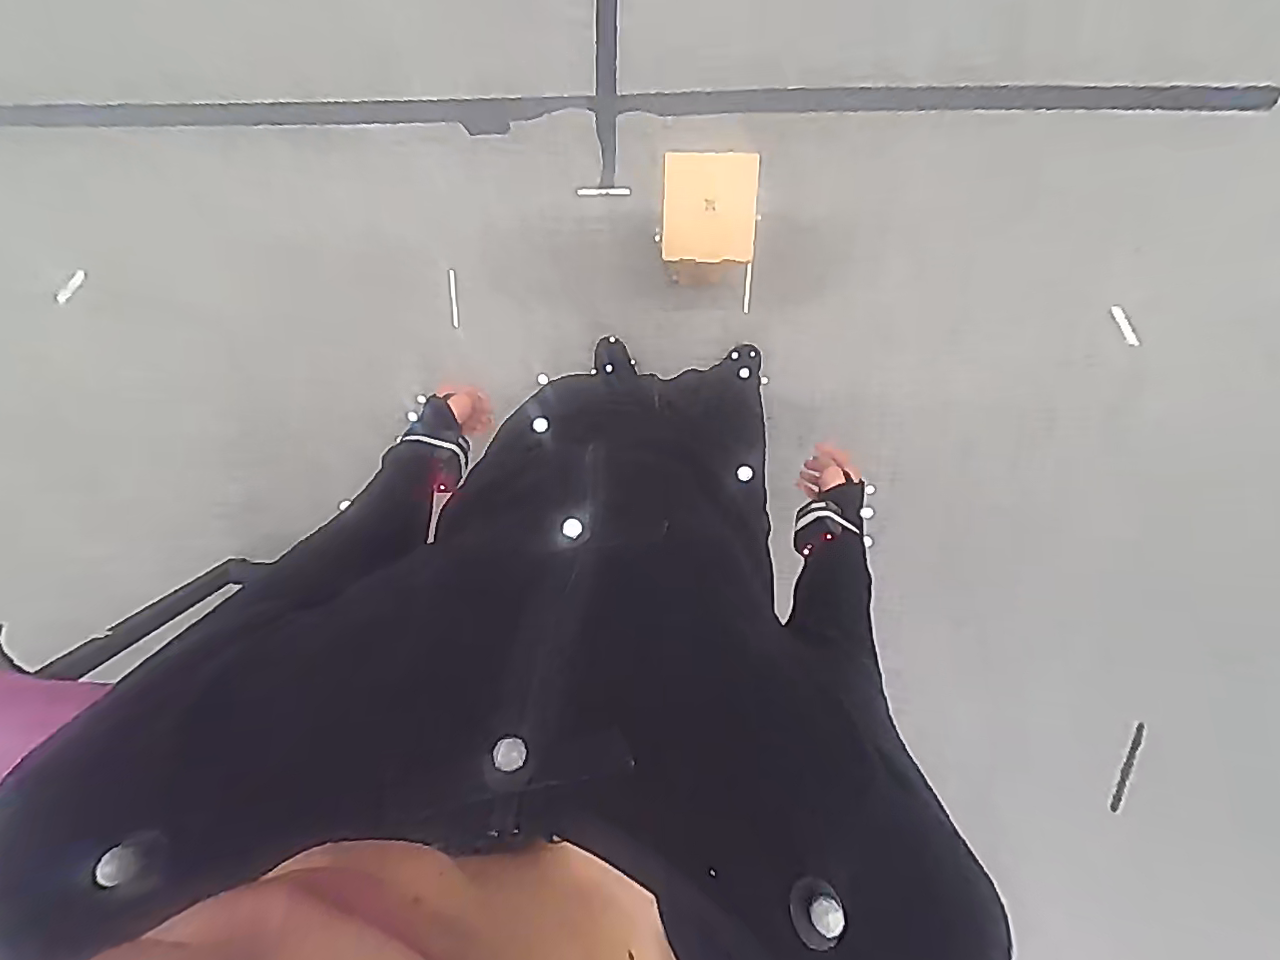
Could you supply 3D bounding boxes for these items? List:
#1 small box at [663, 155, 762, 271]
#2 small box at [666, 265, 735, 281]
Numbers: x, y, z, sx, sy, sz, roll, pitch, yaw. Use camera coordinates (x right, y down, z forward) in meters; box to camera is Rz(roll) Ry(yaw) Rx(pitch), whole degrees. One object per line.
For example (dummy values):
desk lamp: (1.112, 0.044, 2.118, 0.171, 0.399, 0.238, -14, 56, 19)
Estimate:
small box: (0.129, -0.500, 1.032, 0.168, 0.176, 0.179, 1, 108, 1)
small box: (0.147, -0.594, 1.346, 0.168, 0.176, 0.179, -2, 109, 3)
